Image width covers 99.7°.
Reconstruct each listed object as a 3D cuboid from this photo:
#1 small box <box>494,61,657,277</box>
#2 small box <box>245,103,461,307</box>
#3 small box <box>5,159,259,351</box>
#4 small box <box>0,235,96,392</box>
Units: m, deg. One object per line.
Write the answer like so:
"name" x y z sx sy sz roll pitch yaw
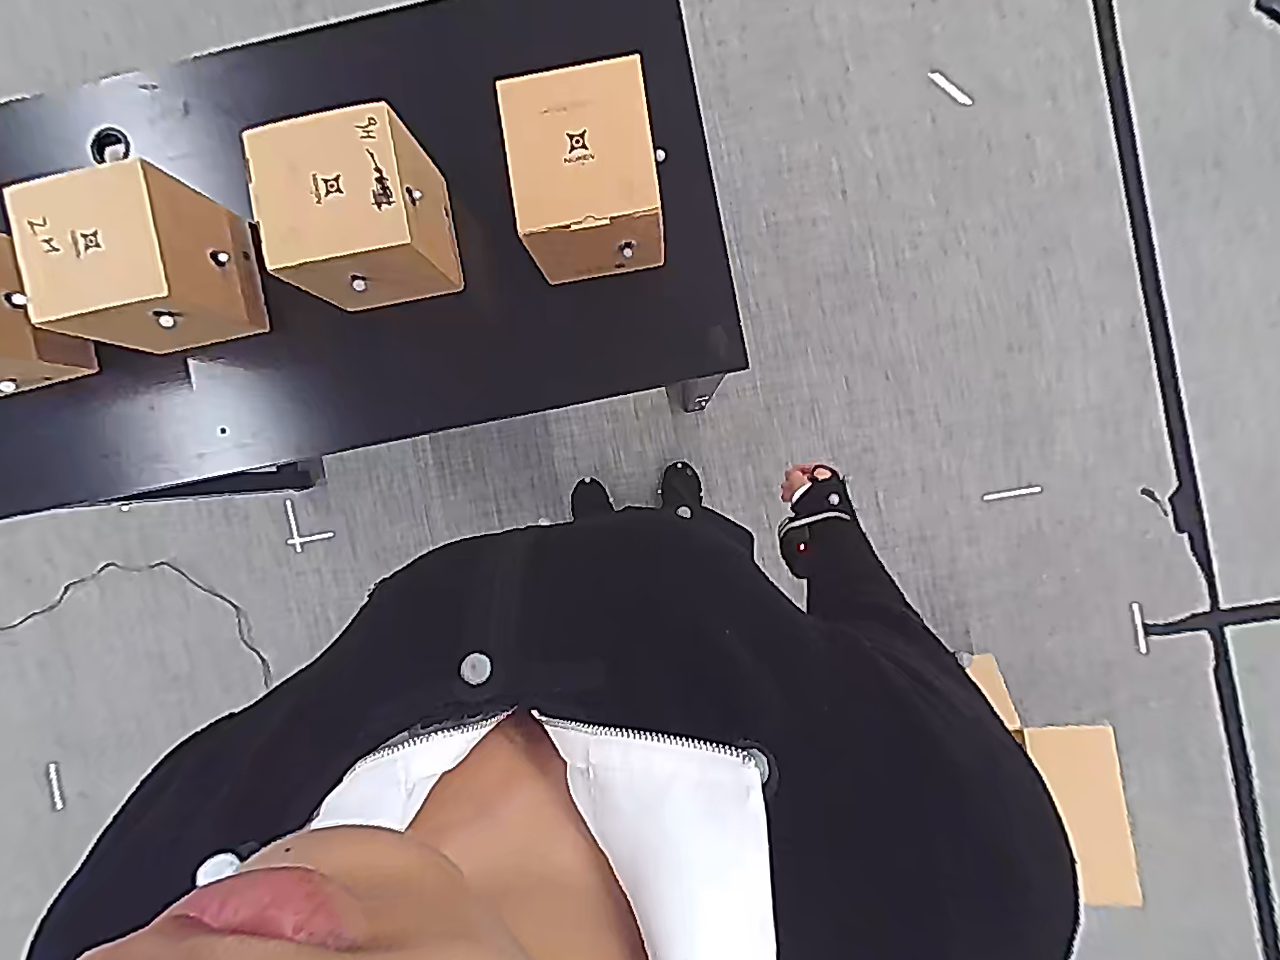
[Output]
"small box" -0.071 -0.375 0.690 0.168 0.176 0.179 -9 90 2
"small box" -0.358 -0.339 0.703 0.179 0.176 0.168 -9 91 3
"small box" -0.646 -0.282 0.715 0.179 0.176 0.168 -12 91 2
"small box" -0.907 -0.229 0.728 0.168 0.176 0.179 -13 92 3
